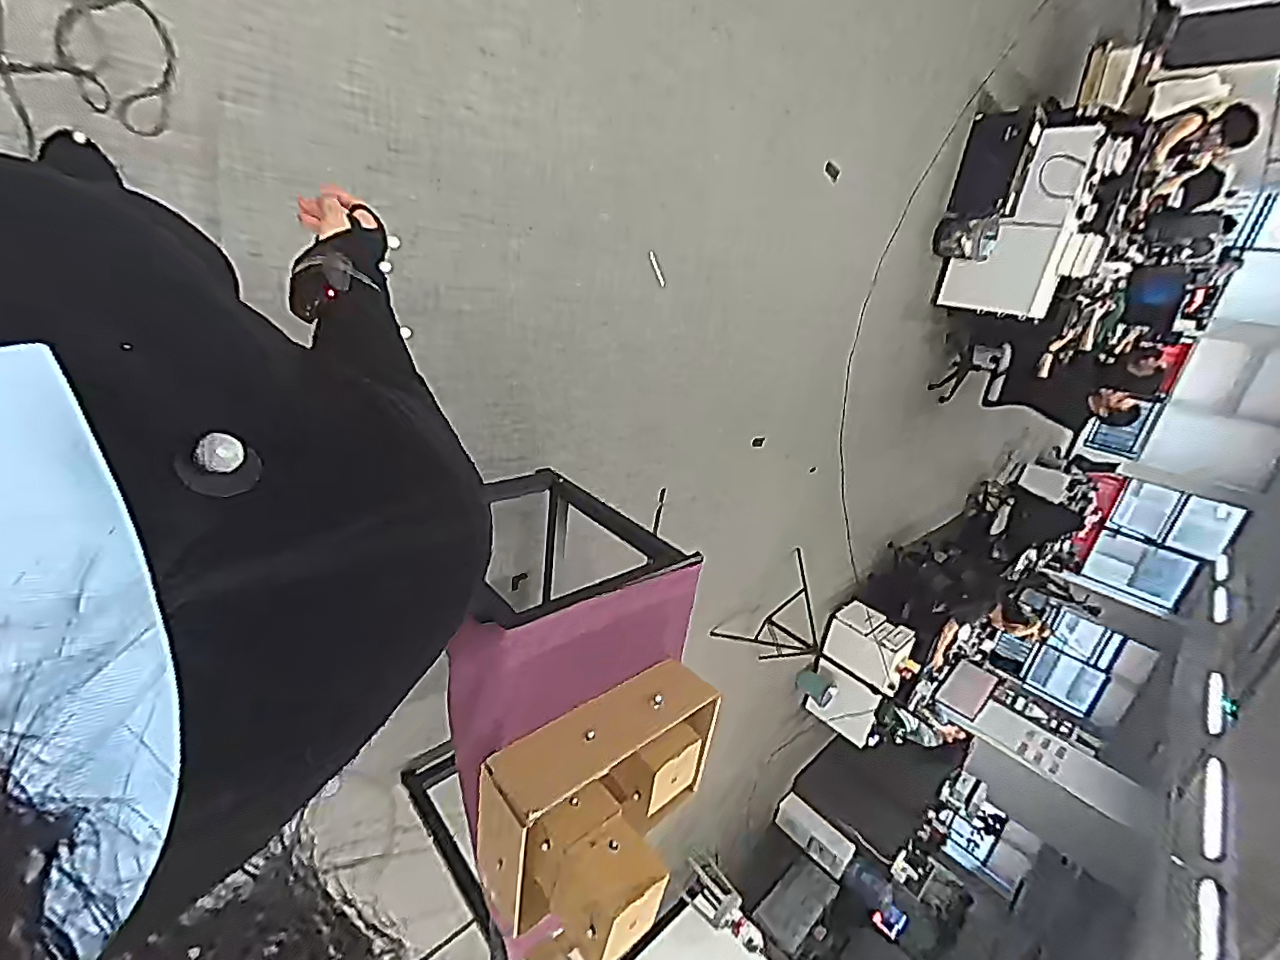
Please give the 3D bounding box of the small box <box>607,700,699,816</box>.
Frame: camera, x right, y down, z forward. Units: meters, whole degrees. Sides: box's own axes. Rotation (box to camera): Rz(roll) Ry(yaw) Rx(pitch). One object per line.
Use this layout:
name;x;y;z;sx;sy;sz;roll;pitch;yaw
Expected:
small box;0.030;0.727;1.431;0.168;0.176;0.179;-15;122;-40
